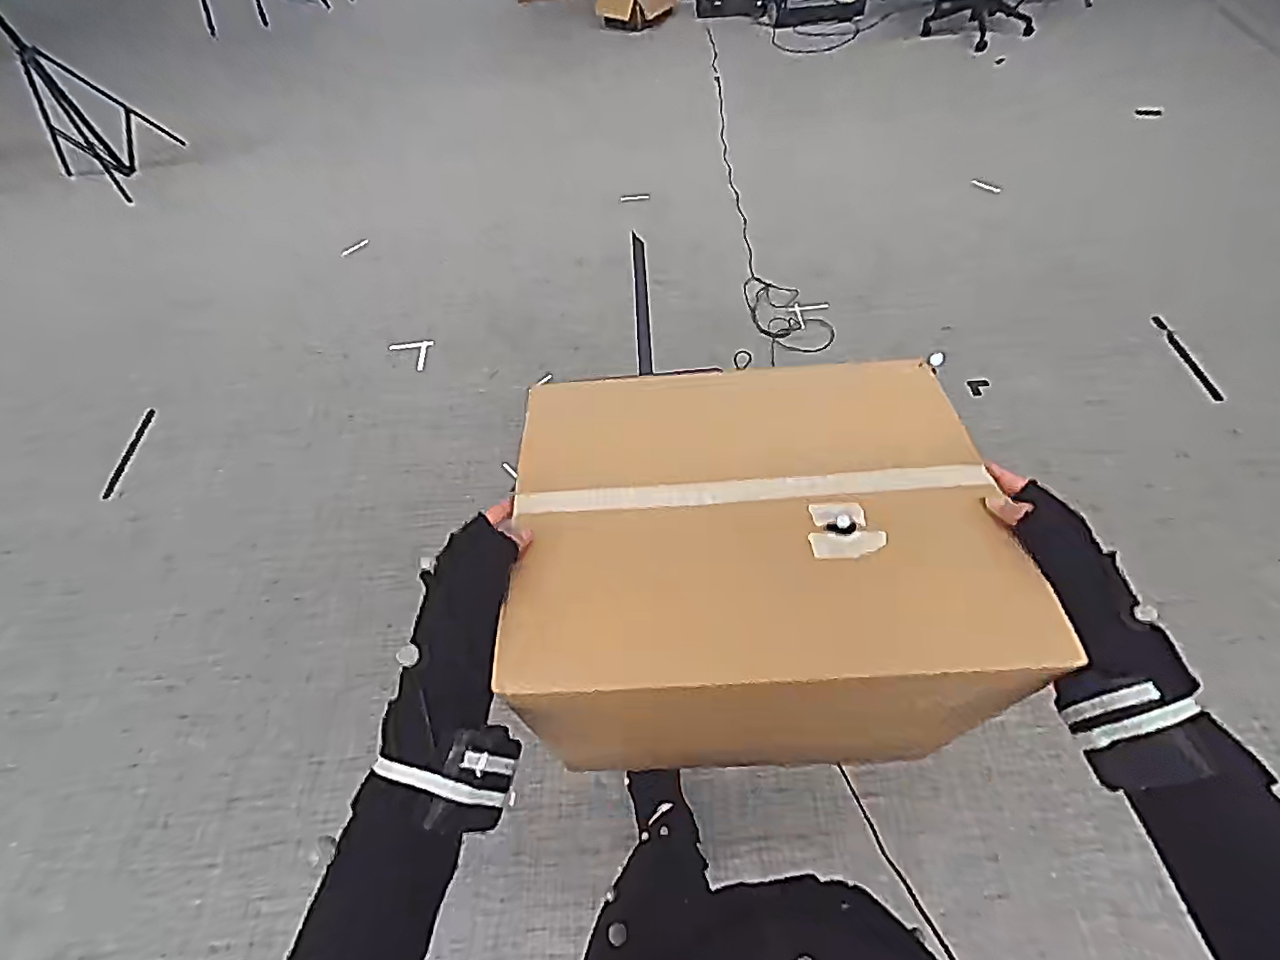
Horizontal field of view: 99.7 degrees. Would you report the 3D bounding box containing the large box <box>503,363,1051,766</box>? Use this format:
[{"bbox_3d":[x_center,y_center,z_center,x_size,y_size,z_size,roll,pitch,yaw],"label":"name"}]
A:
[{"bbox_3d":[0.098,0.103,0.593,0.408,0.320,0.320,-4,52,2],"label":"large box"}]
